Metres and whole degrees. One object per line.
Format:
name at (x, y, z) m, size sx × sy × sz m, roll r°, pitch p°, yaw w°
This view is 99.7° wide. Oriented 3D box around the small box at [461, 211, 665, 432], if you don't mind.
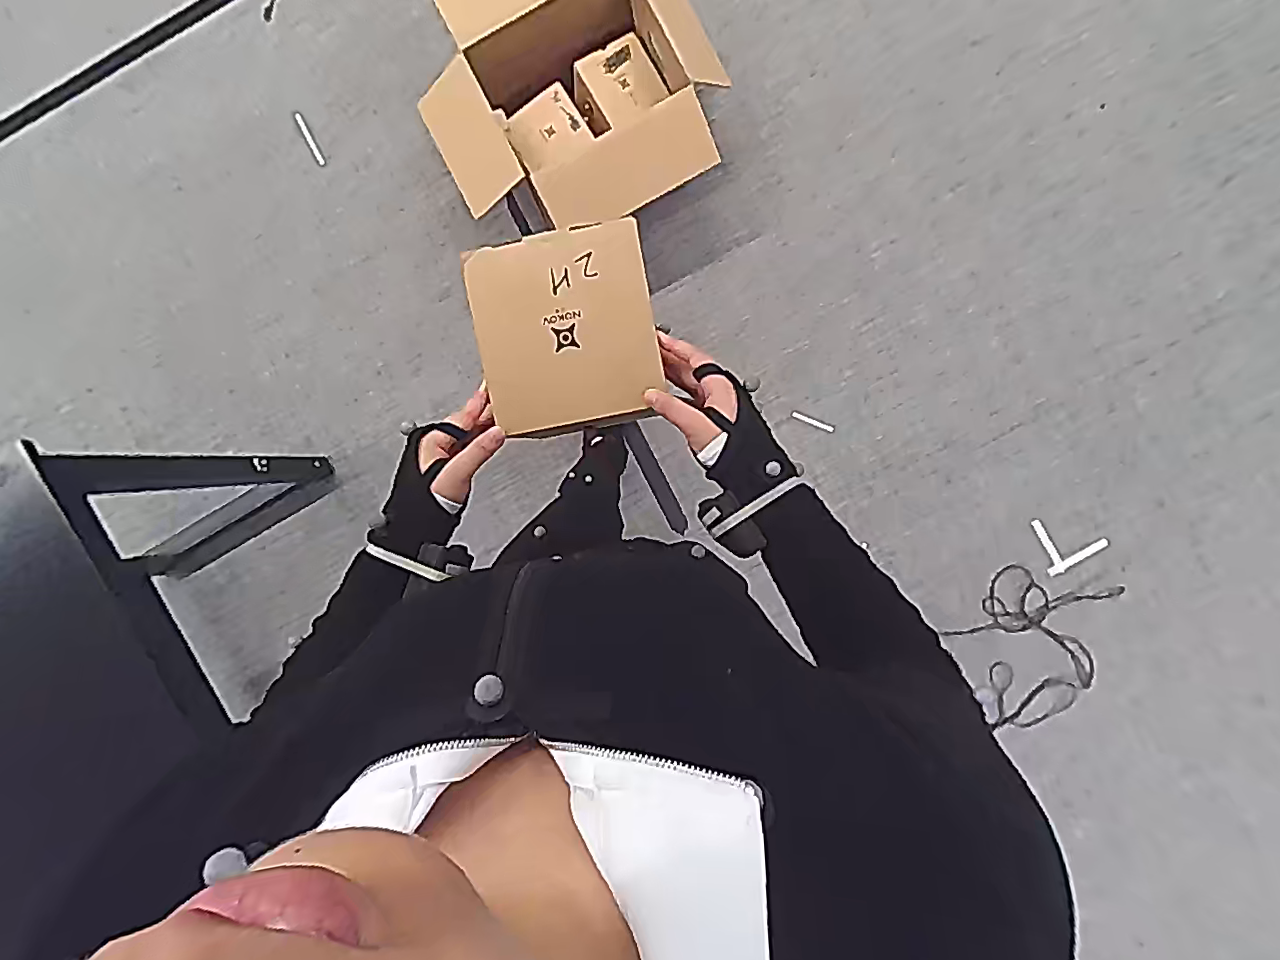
small box at (-0.066, -0.150, 0.575) m, size 0.168 × 0.176 × 0.179 m, roll -11°, pitch 93°, yaw 3°
